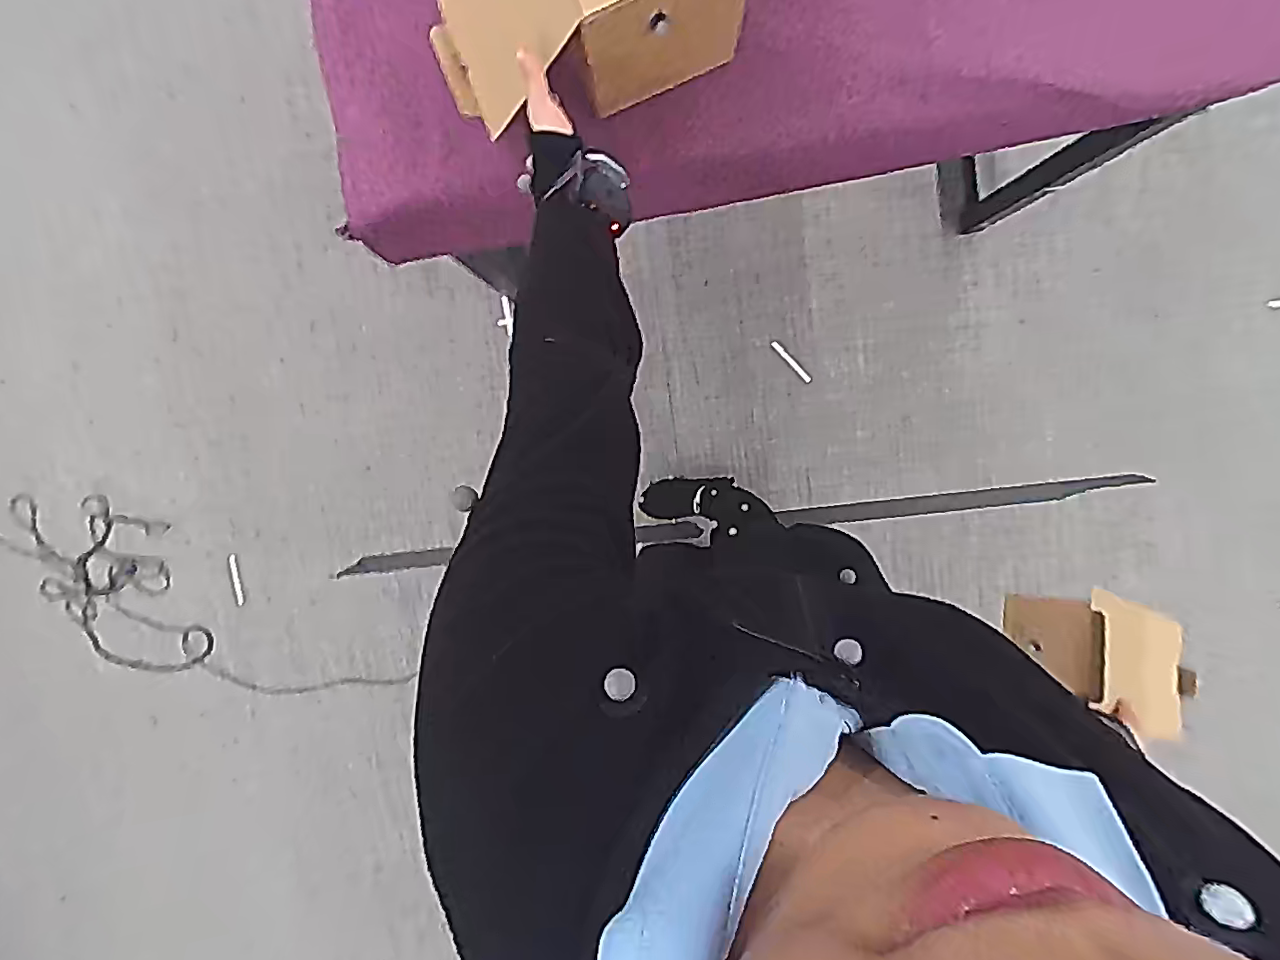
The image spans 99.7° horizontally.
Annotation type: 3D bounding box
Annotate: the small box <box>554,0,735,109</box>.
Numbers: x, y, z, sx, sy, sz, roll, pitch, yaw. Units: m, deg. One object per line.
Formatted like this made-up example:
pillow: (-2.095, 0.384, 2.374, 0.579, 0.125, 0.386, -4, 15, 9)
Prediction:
small box: (-0.005, -0.530, 0.554, 0.179, 0.176, 0.168, -21, 96, 4)
